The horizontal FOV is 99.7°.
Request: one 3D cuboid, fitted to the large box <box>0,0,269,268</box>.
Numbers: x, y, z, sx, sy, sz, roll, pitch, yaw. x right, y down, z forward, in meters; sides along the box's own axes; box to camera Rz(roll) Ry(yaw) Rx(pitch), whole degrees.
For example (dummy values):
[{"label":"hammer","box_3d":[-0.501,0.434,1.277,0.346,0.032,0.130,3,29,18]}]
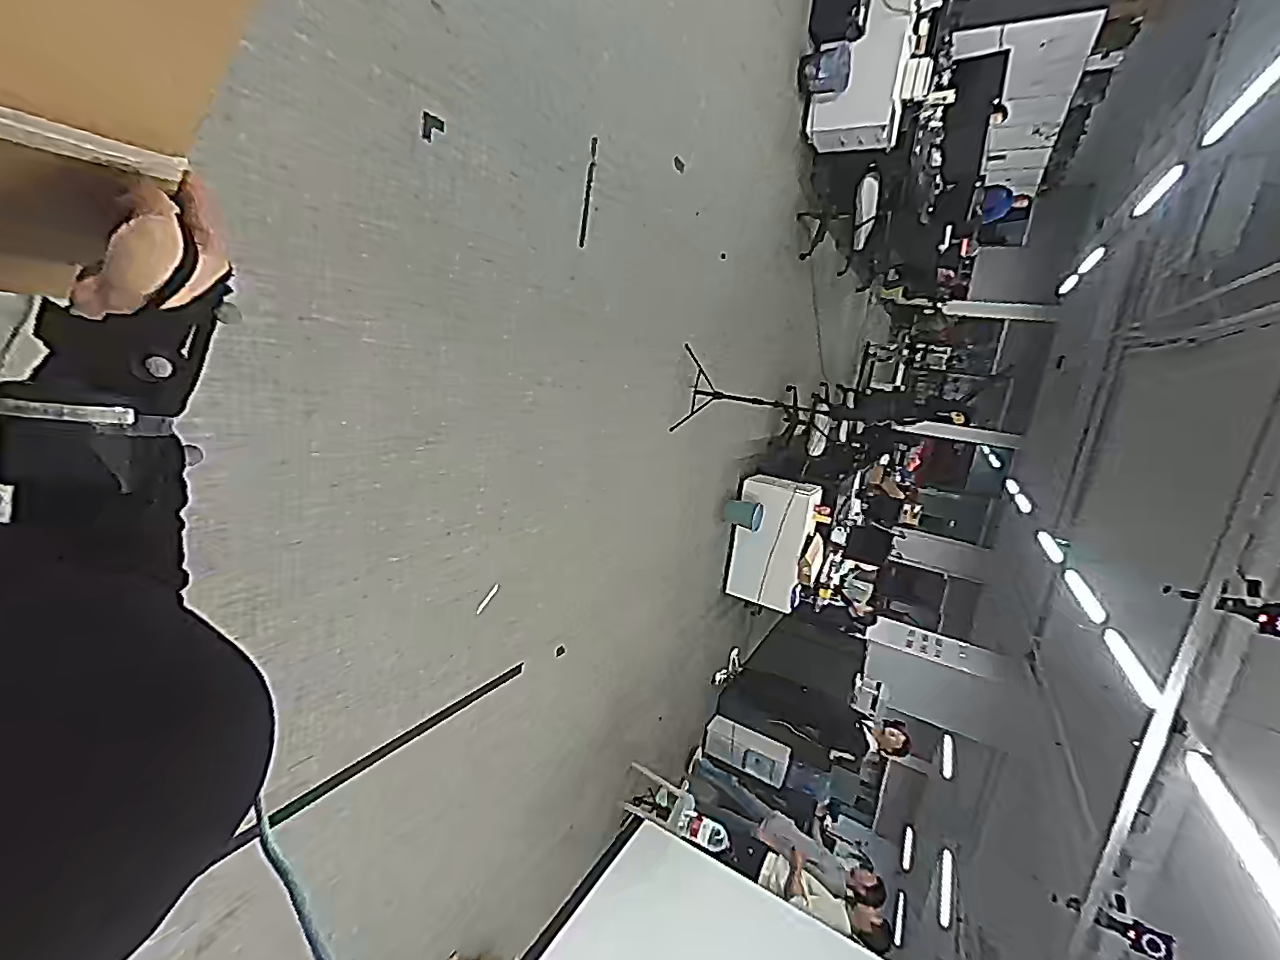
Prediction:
[{"label":"large box","box_3d":[-0.427,-0.327,0.178,0.408,0.320,0.320,-15,81,-59]}]
